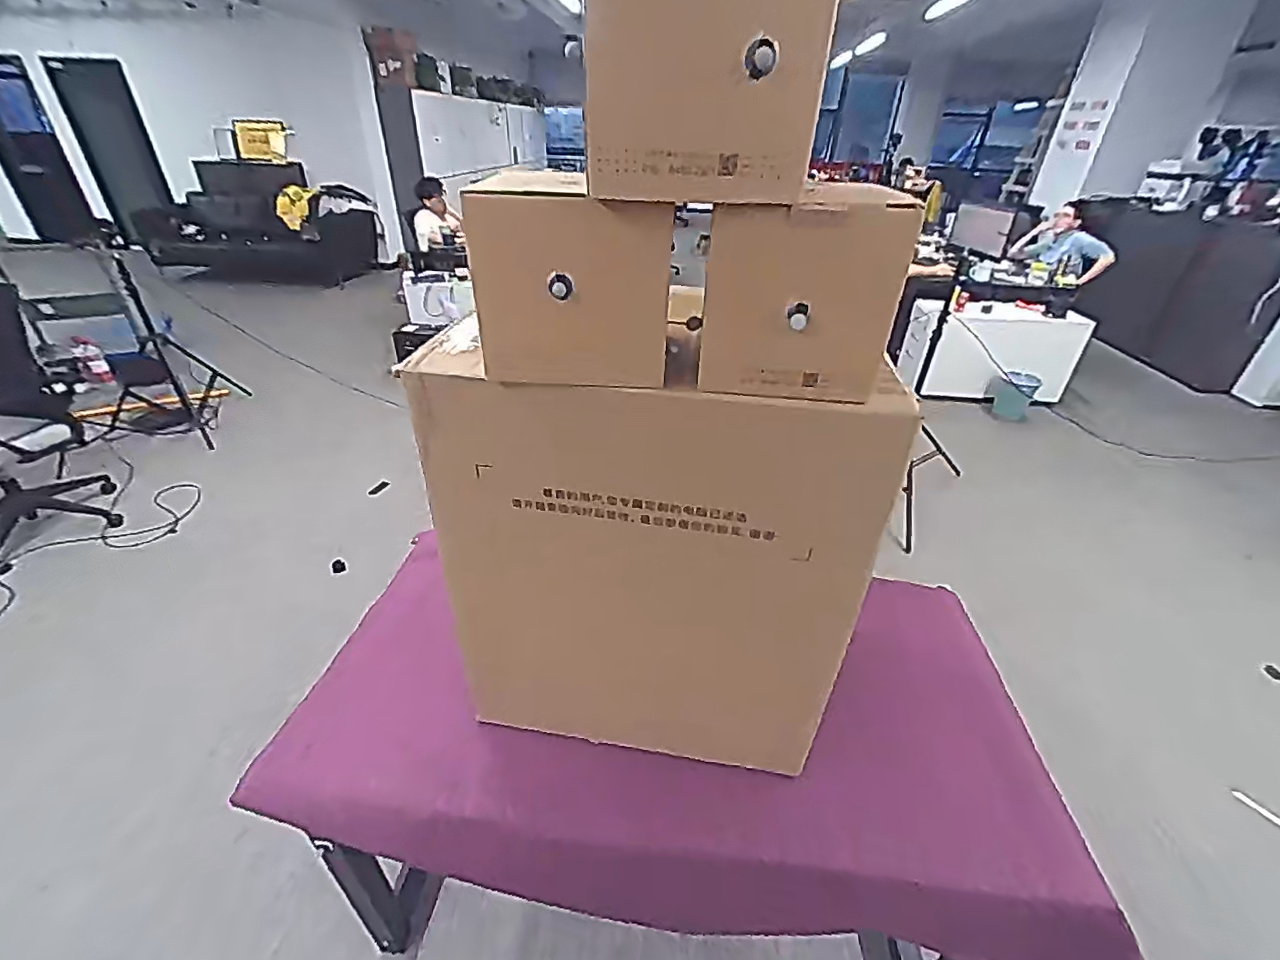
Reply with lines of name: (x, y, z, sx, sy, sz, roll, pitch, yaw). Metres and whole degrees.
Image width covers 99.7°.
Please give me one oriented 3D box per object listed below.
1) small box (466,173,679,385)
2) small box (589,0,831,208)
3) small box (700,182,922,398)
small box: (-0.055, -0.204, 0.548, 0.179, 0.176, 0.168, 2, 34, 1)
small box: (0.044, -0.325, 0.442, 0.168, 0.176, 0.179, 1, 33, -4)
small box: (0.151, -0.194, 0.541, 0.168, 0.176, 0.179, 6, 35, 5)
